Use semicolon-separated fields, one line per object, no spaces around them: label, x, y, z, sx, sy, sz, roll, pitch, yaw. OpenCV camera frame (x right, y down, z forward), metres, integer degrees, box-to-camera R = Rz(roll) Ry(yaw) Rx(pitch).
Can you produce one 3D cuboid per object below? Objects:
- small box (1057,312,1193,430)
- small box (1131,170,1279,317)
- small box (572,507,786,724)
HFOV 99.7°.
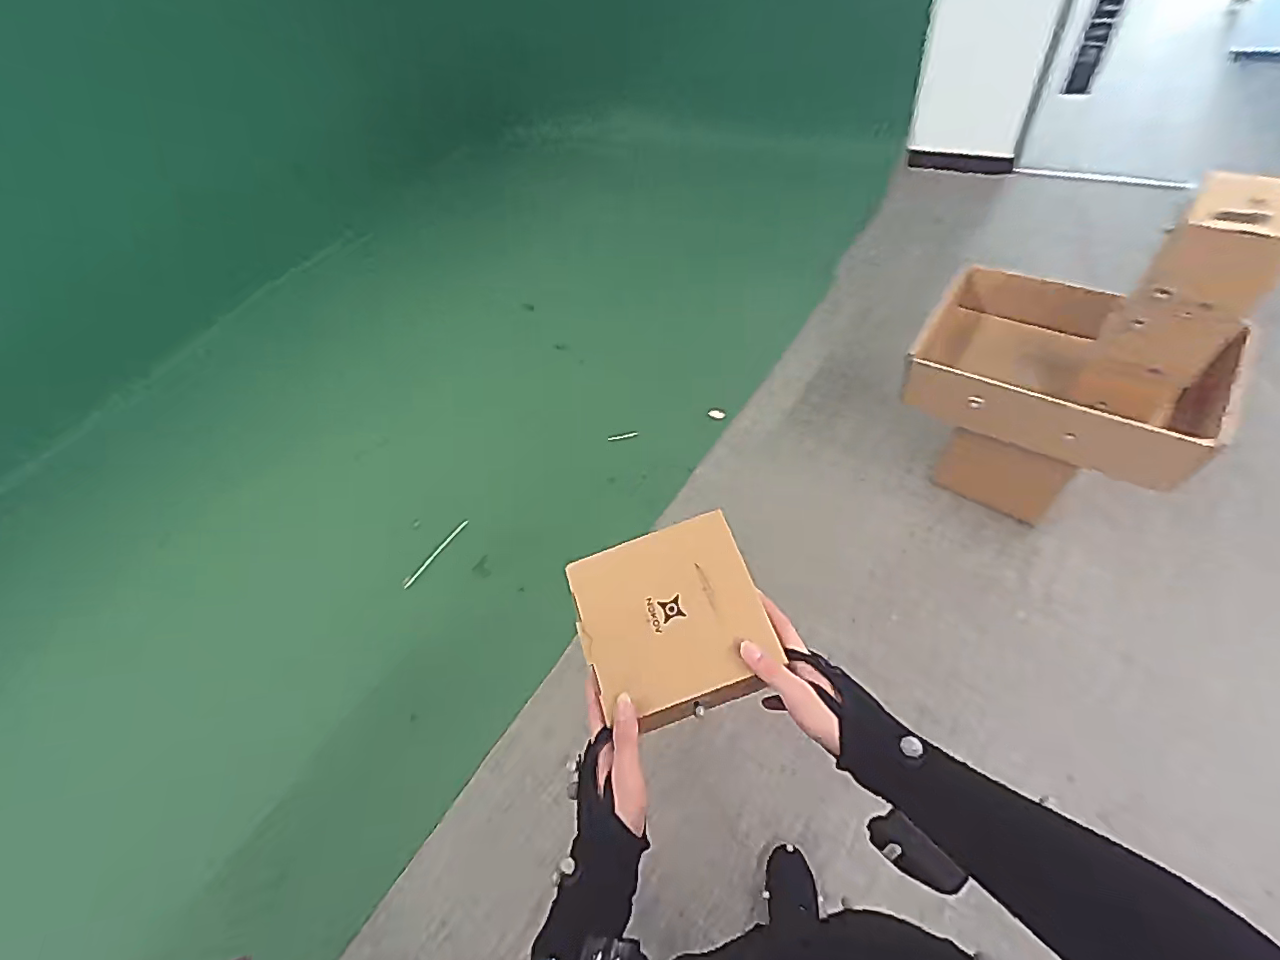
small box;1.118;-0.252;1.259;0.168;0.176;0.179;28;67;28
small box;1.054;-0.430;0.990;0.168;0.176;0.179;27;66;27
small box;0.044;0.158;0.596;0.179;0.176;0.168;-19;62;0
